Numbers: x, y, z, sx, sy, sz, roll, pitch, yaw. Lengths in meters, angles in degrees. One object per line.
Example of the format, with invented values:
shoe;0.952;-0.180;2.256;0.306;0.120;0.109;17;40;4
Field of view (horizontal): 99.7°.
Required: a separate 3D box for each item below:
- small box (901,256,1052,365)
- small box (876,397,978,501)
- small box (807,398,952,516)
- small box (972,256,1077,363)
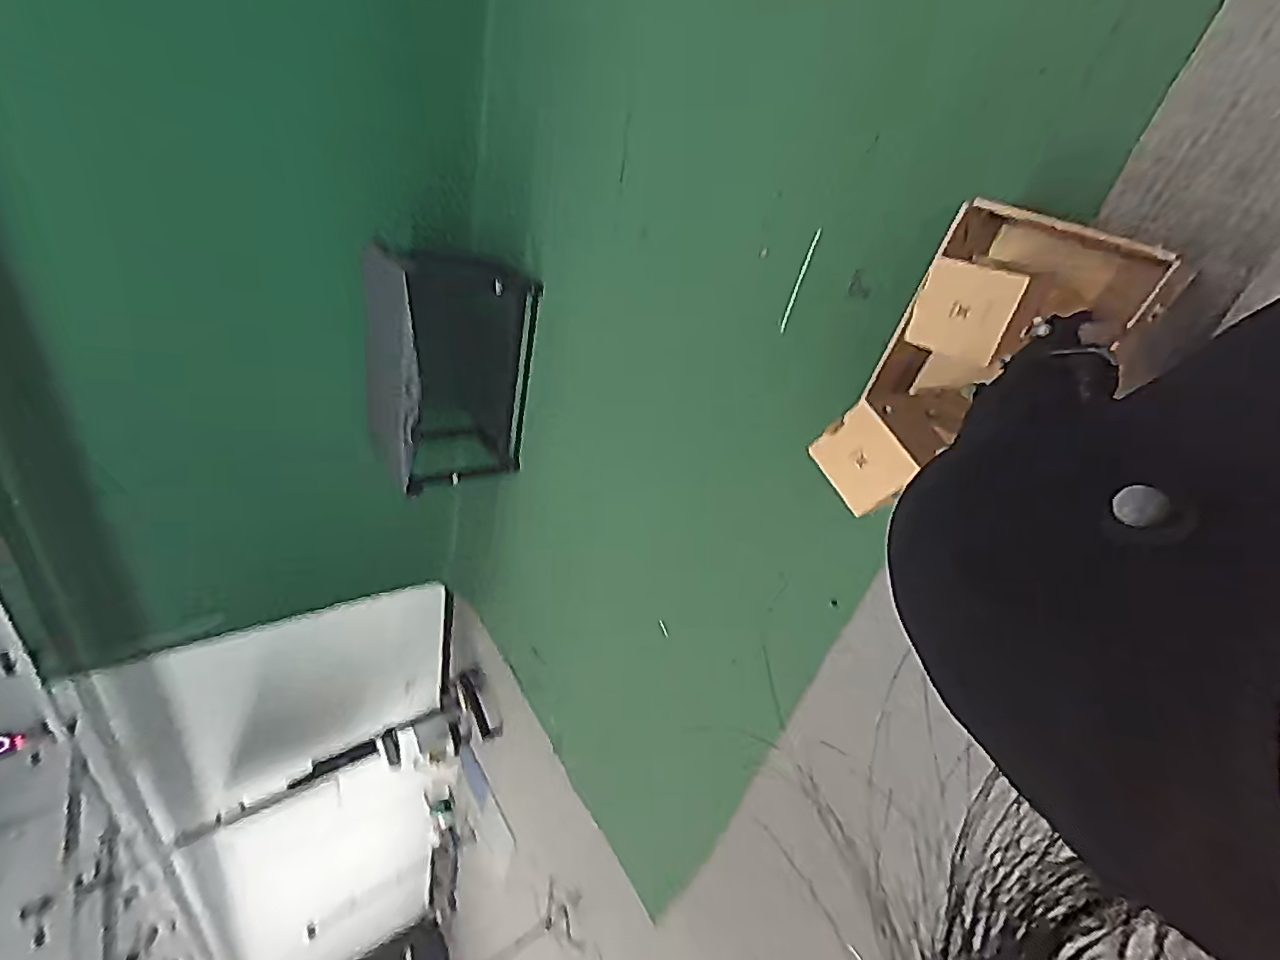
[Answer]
small box;0.665;-0.337;1.074;0.179;0.176;0.168;36;127;38
small box;0.607;-0.079;1.205;0.179;0.176;0.168;43;129;37
small box;0.487;-0.053;1.098;0.168;0.176;0.179;-51;59;43
small box;0.790;-0.367;1.175;0.179;0.176;0.168;46;133;34
